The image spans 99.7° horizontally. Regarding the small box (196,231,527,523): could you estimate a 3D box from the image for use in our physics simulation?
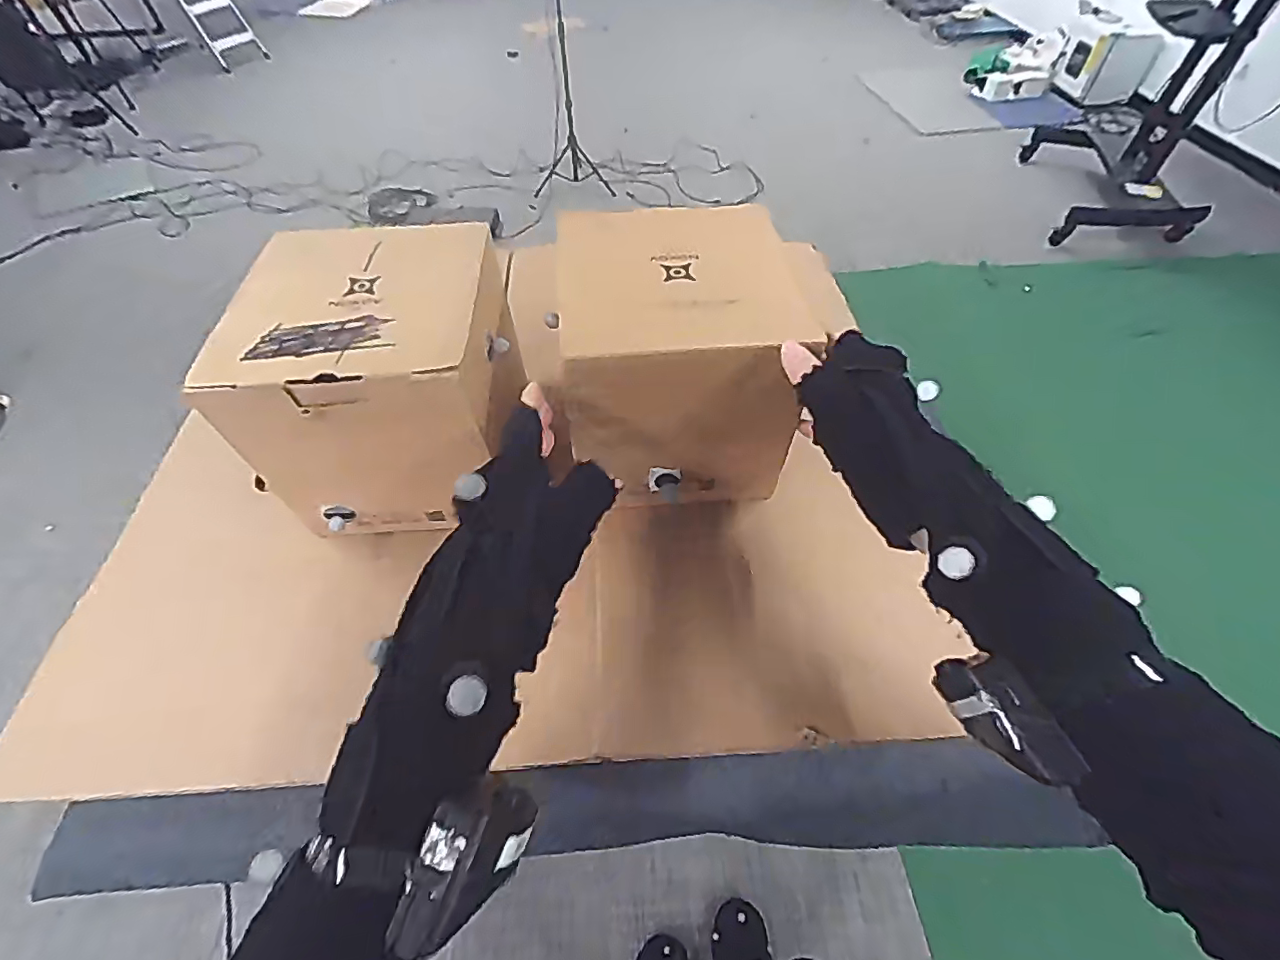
[{"bbox_3d":[-0.192,-0.075,0.441,0.168,0.176,0.179,-3,52,-2],"label":"small box"}]
